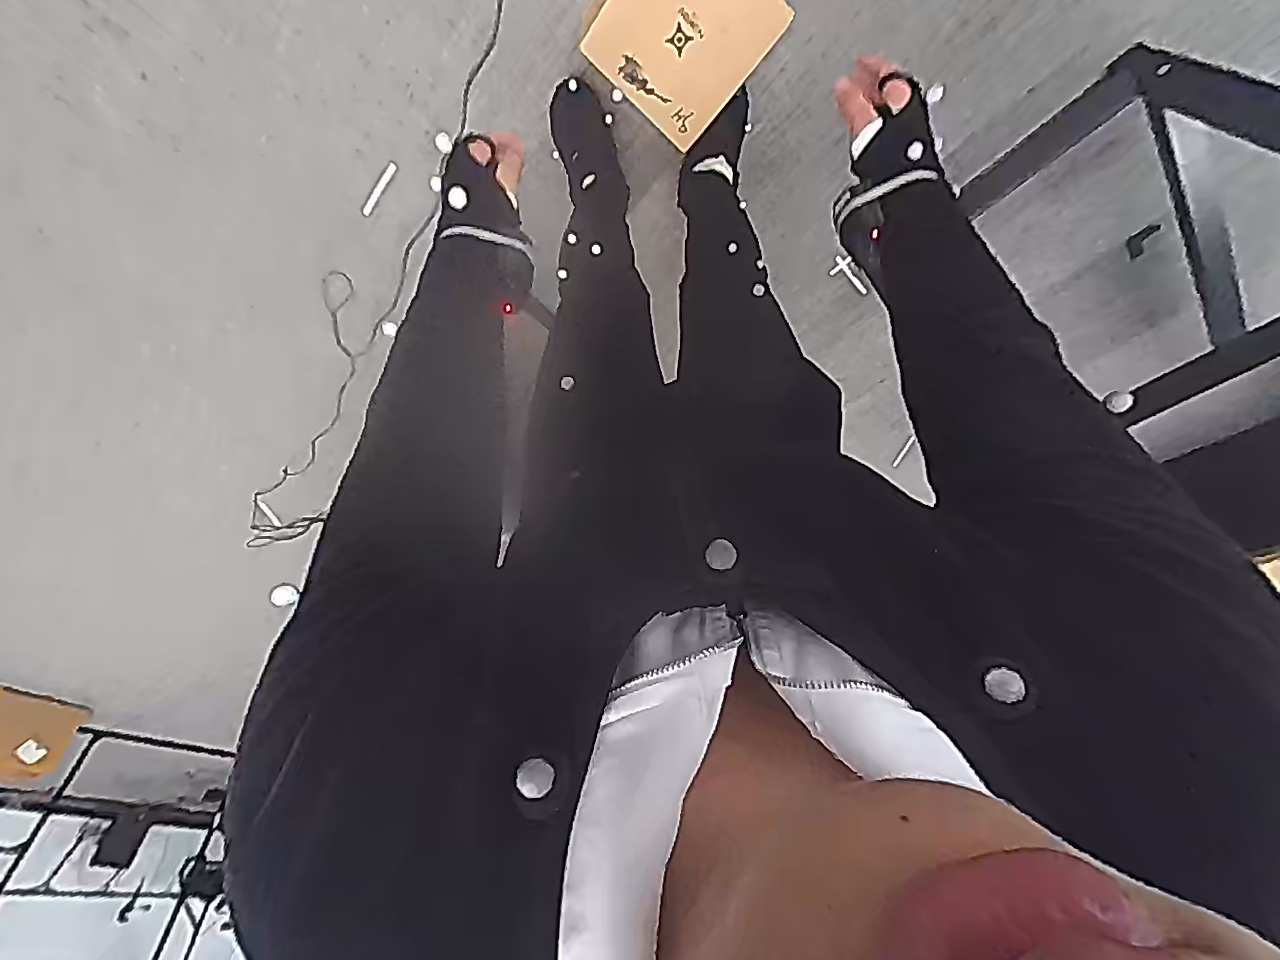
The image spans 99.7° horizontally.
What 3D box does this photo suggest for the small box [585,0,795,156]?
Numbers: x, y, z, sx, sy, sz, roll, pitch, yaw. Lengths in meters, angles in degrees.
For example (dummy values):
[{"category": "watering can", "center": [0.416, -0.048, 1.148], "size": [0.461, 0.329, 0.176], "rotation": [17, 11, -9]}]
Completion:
[{"category": "small box", "center": [0.049, -0.541, 0.644], "size": [0.168, 0.176, 0.179], "rotation": [30, 127, -29]}]
